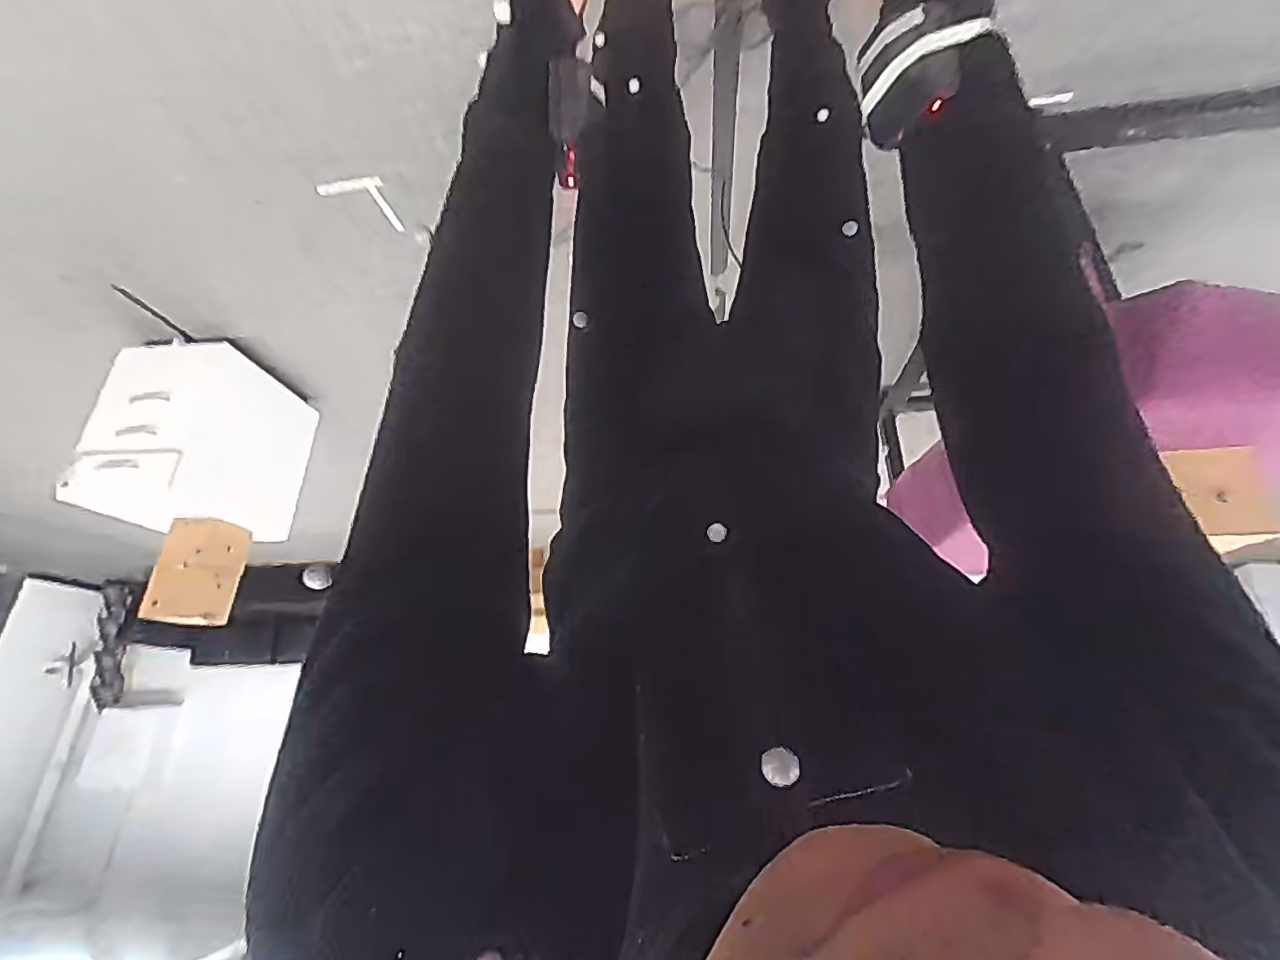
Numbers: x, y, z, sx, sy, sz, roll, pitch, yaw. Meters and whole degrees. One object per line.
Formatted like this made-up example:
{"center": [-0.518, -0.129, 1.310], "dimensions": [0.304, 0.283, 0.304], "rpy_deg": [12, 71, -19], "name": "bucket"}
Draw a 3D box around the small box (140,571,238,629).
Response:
{"center": [-1.520, 0.406, 1.835], "dimensions": [0.179, 0.176, 0.168], "rpy_deg": [0, 158, 3], "name": "small box"}
